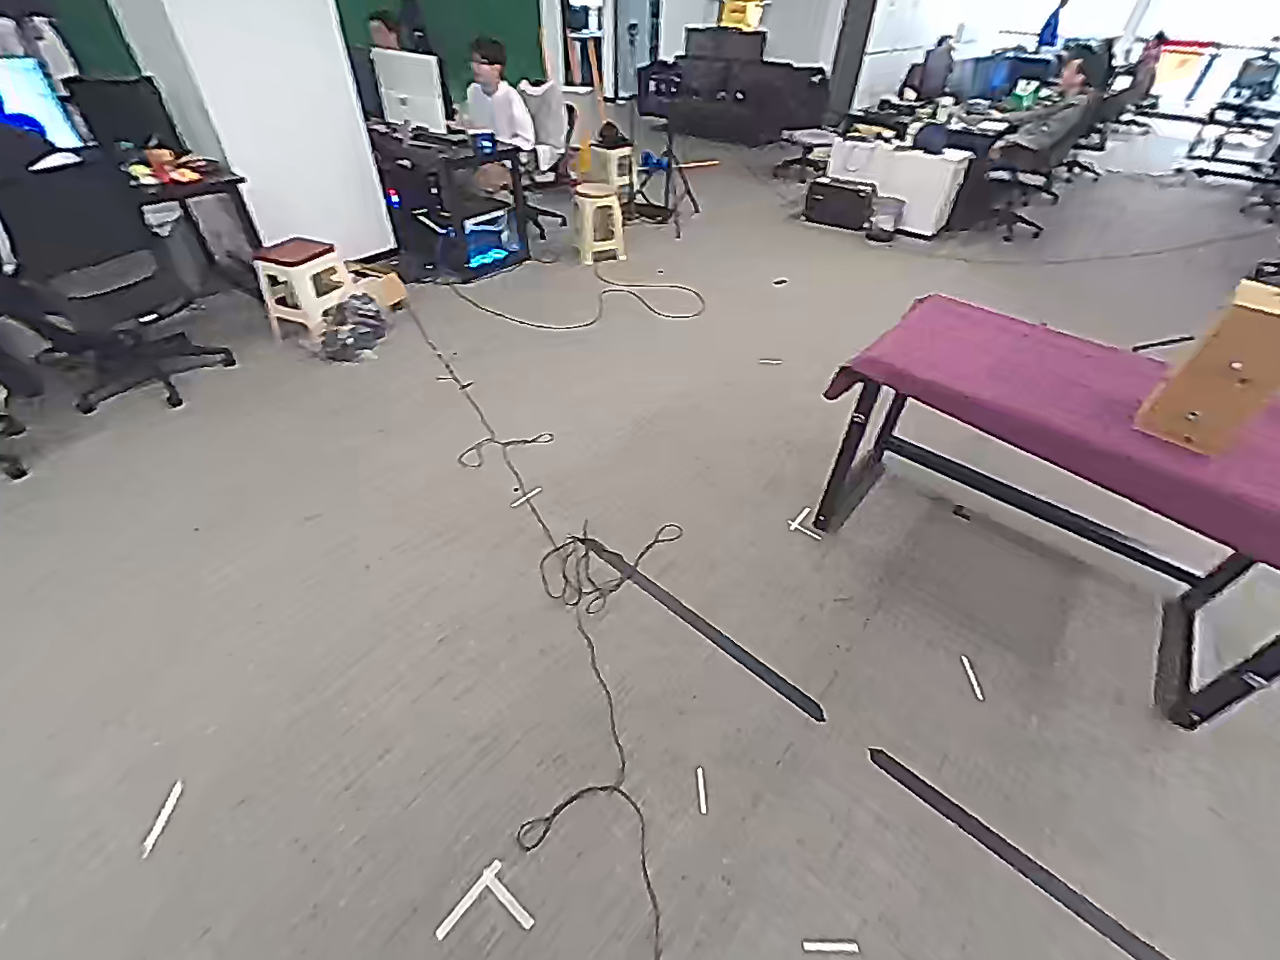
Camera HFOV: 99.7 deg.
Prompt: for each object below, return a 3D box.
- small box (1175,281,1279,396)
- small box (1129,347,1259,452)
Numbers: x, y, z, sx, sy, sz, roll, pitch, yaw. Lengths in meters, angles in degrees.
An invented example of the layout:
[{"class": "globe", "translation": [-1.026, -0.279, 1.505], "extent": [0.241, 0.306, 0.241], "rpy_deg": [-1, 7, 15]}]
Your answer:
[{"class": "small box", "translation": [1.354, -0.316, 1.206], "extent": [0.168, 0.176, 0.179], "rpy_deg": [33, 51, 30]}, {"class": "small box", "translation": [1.344, -0.194, 1.316], "extent": [0.168, 0.176, 0.179], "rpy_deg": [34, 50, 30]}]
